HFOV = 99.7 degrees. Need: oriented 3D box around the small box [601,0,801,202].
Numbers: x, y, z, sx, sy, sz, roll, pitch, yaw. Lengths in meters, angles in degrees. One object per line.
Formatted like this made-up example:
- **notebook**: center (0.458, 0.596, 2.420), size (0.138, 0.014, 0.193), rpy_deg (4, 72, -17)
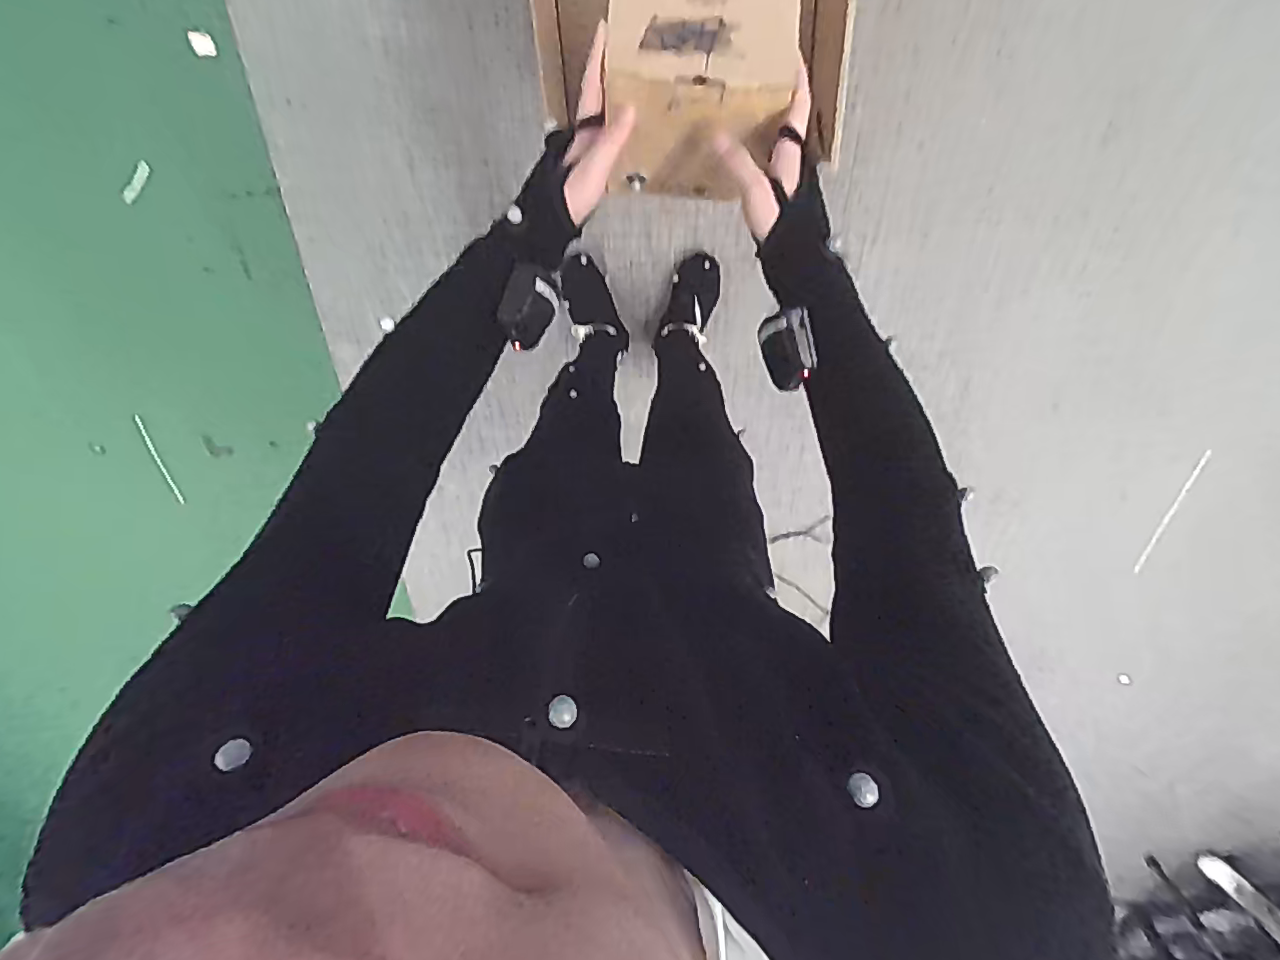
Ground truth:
- **small box**: center (0.053, -0.406, 0.535), size (0.168, 0.176, 0.179), rpy_deg (4, 86, -2)
